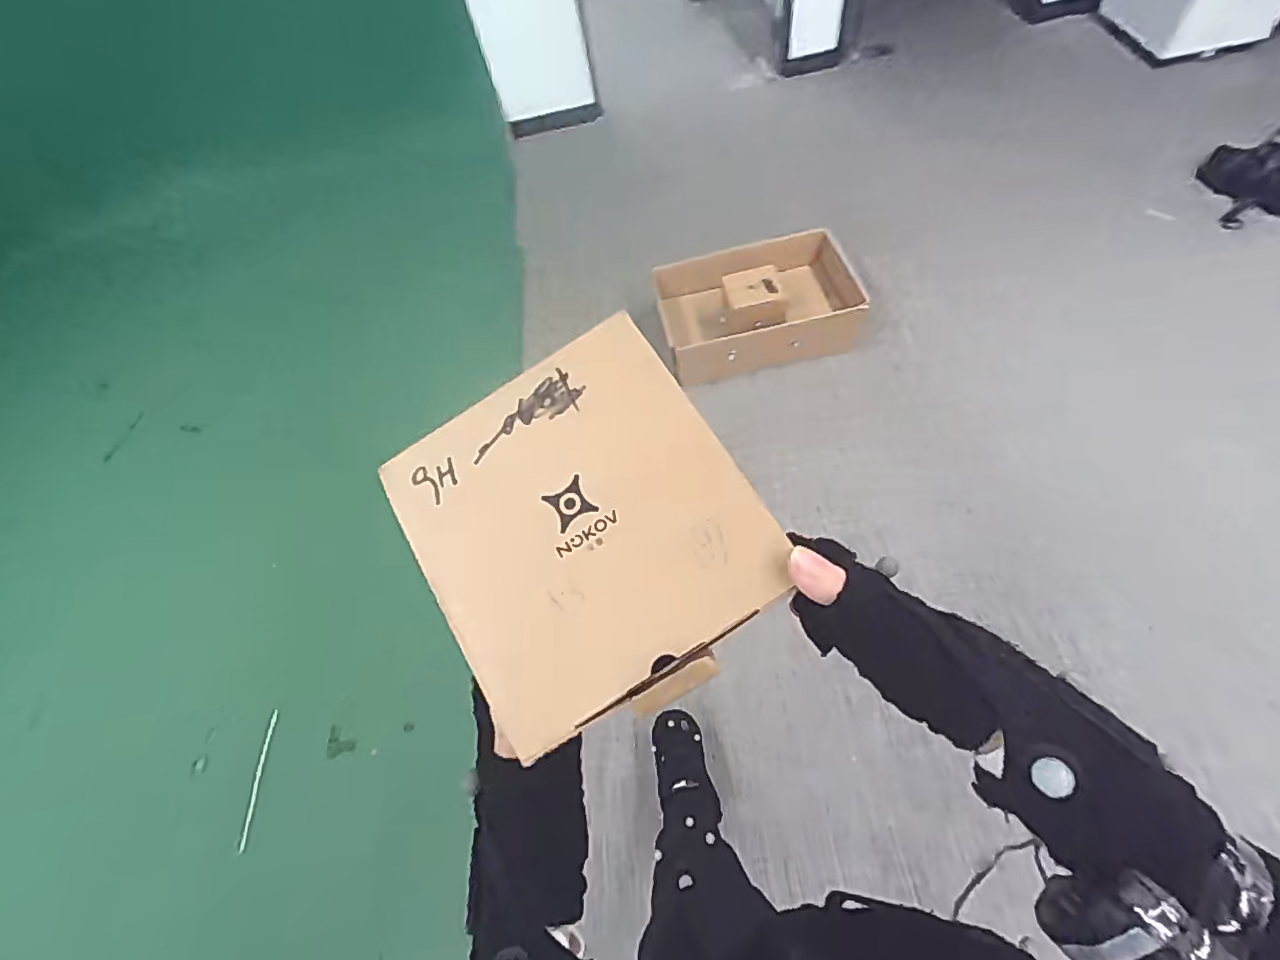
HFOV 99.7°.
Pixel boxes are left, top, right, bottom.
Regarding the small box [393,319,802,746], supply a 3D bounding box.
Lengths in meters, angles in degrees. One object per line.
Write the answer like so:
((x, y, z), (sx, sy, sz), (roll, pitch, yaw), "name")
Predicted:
((-0.018, 0.036, 0.362), (0.168, 0.176, 0.179), (-32, 75, 0), "small box")

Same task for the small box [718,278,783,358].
((0.360, -0.530, 1.781), (0.179, 0.176, 0.168), (-11, 56, 4), "small box")
